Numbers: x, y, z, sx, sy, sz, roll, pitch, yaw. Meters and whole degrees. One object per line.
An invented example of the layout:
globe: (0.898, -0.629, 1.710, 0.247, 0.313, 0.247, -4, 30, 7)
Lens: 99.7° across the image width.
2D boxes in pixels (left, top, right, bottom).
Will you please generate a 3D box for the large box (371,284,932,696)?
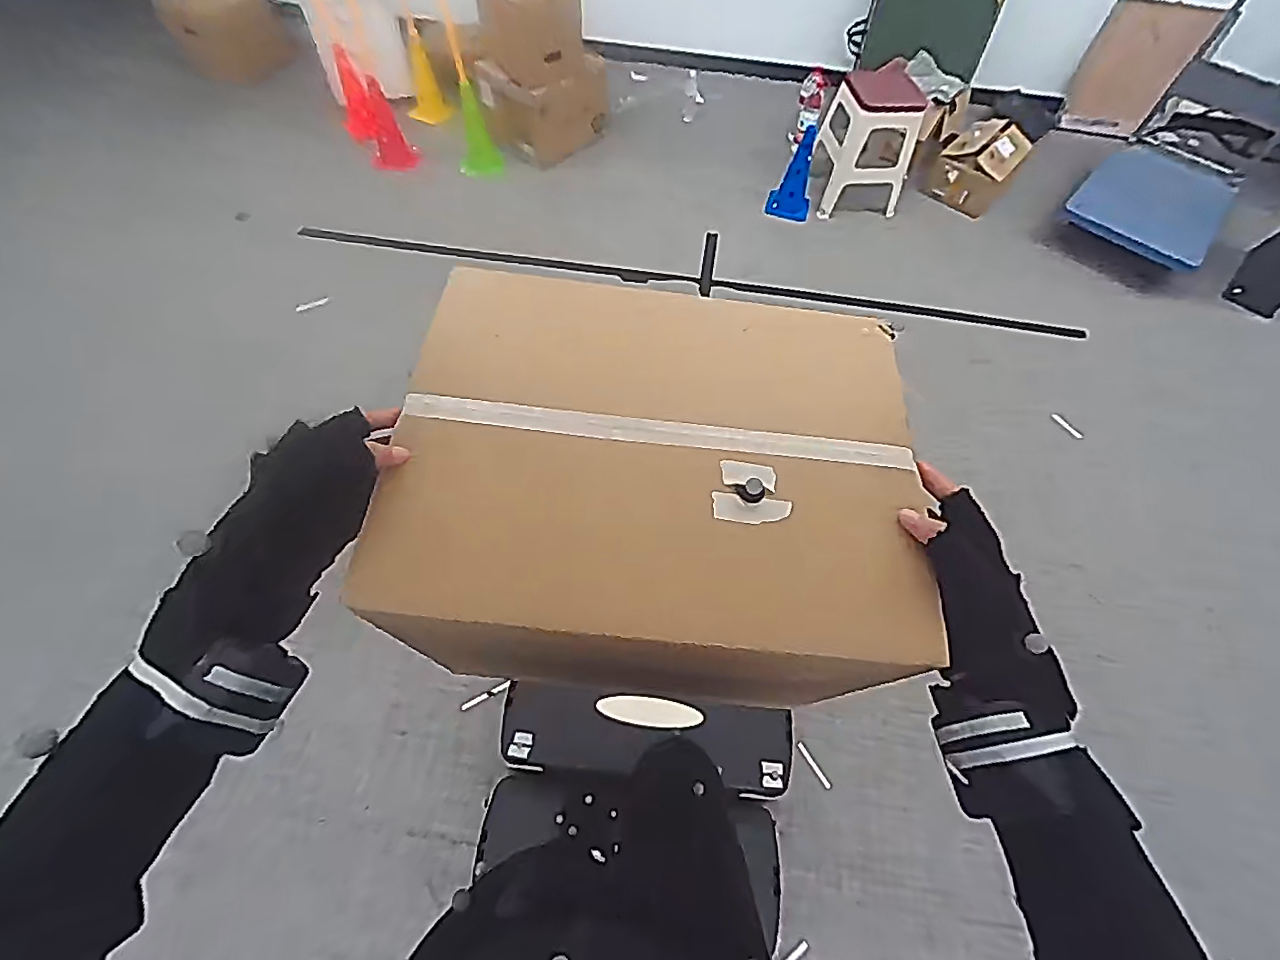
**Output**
large box: (0.007, 0.037, 0.574, 0.408, 0.320, 0.320, 6, 63, -3)

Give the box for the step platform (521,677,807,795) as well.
step platform: (0.056, 0.580, 1.336, 0.684, 0.204, 0.286, 7, 59, 0)
